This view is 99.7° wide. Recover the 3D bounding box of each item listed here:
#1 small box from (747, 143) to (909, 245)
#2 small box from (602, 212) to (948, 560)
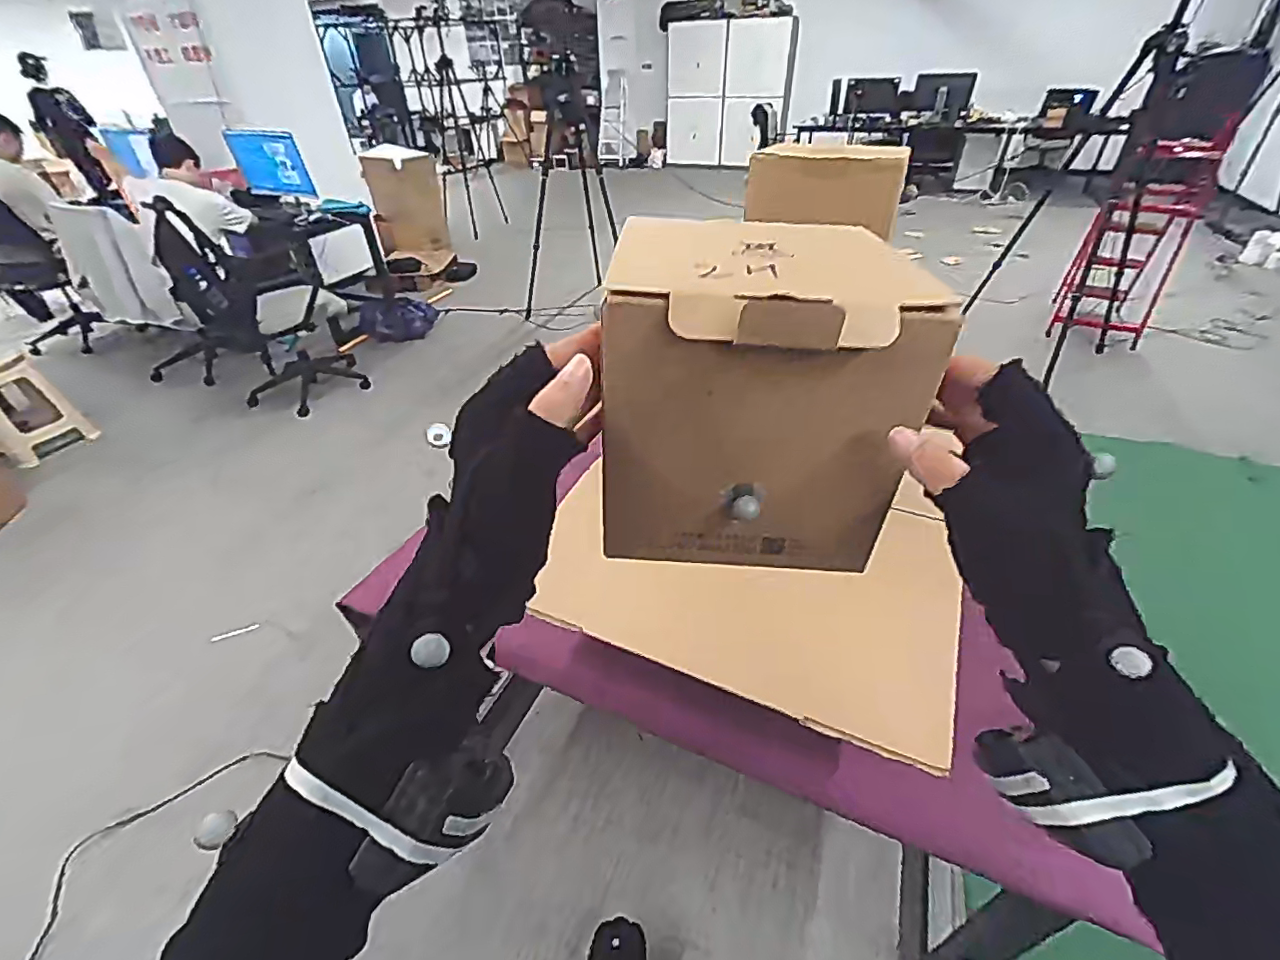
[{"bbox_3d":[0.231,-0.325,0.693,0.168,0.176,0.179,14,38,19],"label":"small box"},{"bbox_3d":[0.065,-0.070,0.367,0.168,0.176,0.179,3,37,2],"label":"small box"}]
